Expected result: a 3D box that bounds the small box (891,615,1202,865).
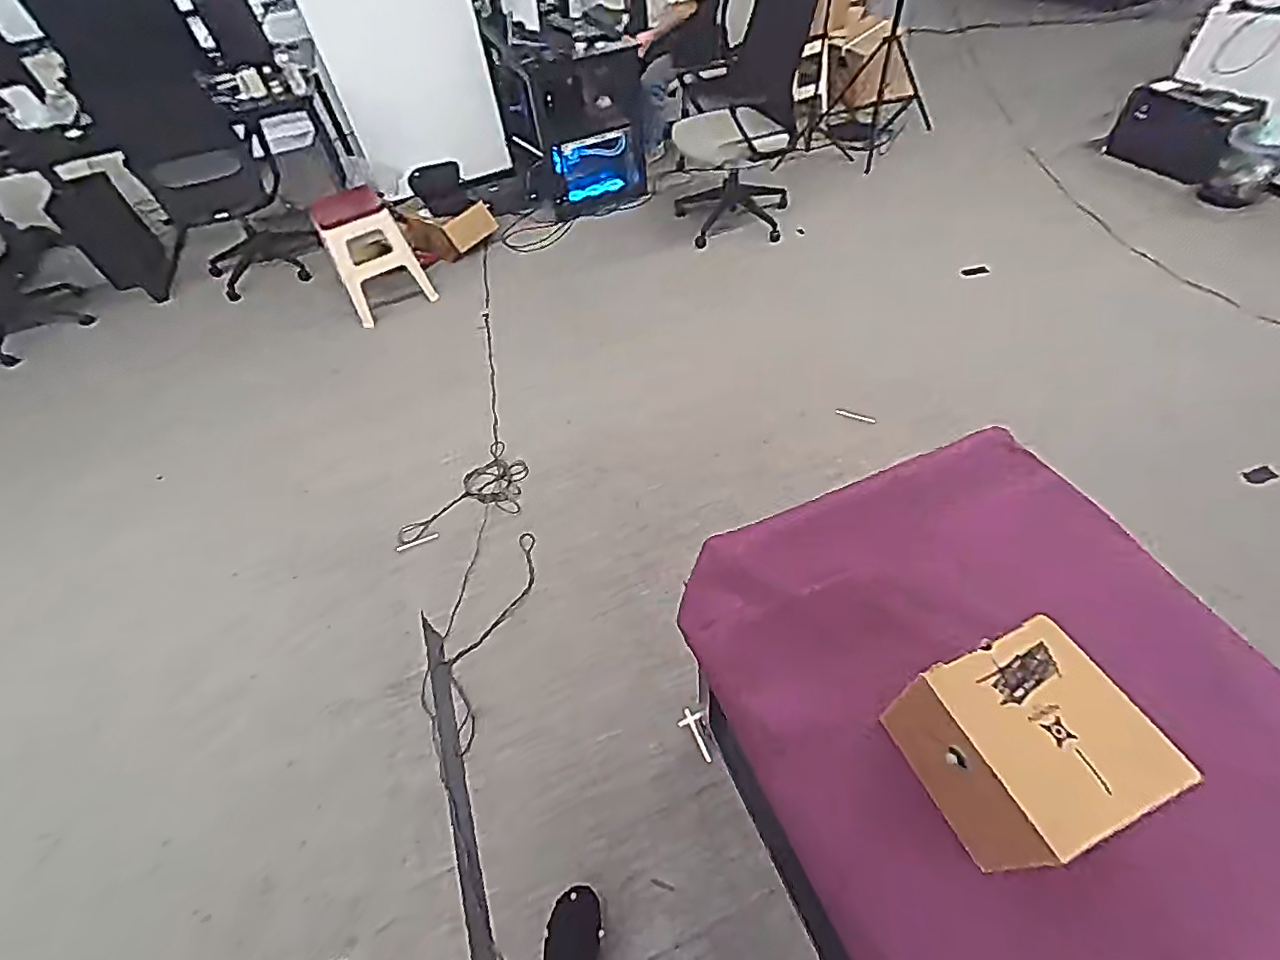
[{"bbox_3d":[0.409,0.283,0.587,0.168,0.176,0.179,-21,53,-10],"label":"small box"}]
